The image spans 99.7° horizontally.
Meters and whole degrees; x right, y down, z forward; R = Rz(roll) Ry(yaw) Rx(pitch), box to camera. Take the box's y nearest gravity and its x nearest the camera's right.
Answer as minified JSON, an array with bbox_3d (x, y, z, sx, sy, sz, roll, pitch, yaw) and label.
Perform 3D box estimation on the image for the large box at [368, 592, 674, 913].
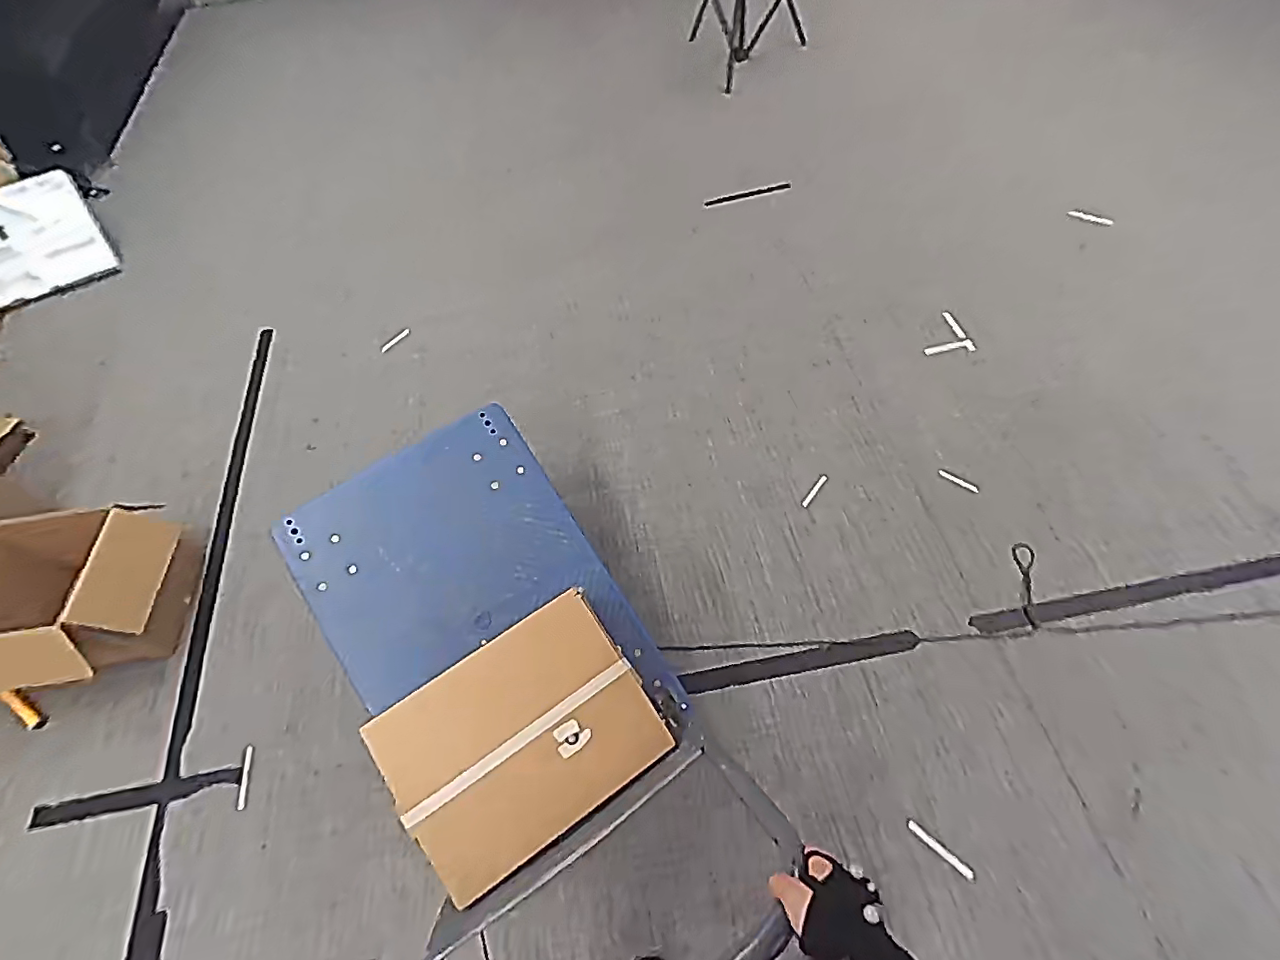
[{"bbox_3d":[-0.205,0.462,1.018,0.408,0.320,0.320,-33,83,-14],"label":"large box"}]
